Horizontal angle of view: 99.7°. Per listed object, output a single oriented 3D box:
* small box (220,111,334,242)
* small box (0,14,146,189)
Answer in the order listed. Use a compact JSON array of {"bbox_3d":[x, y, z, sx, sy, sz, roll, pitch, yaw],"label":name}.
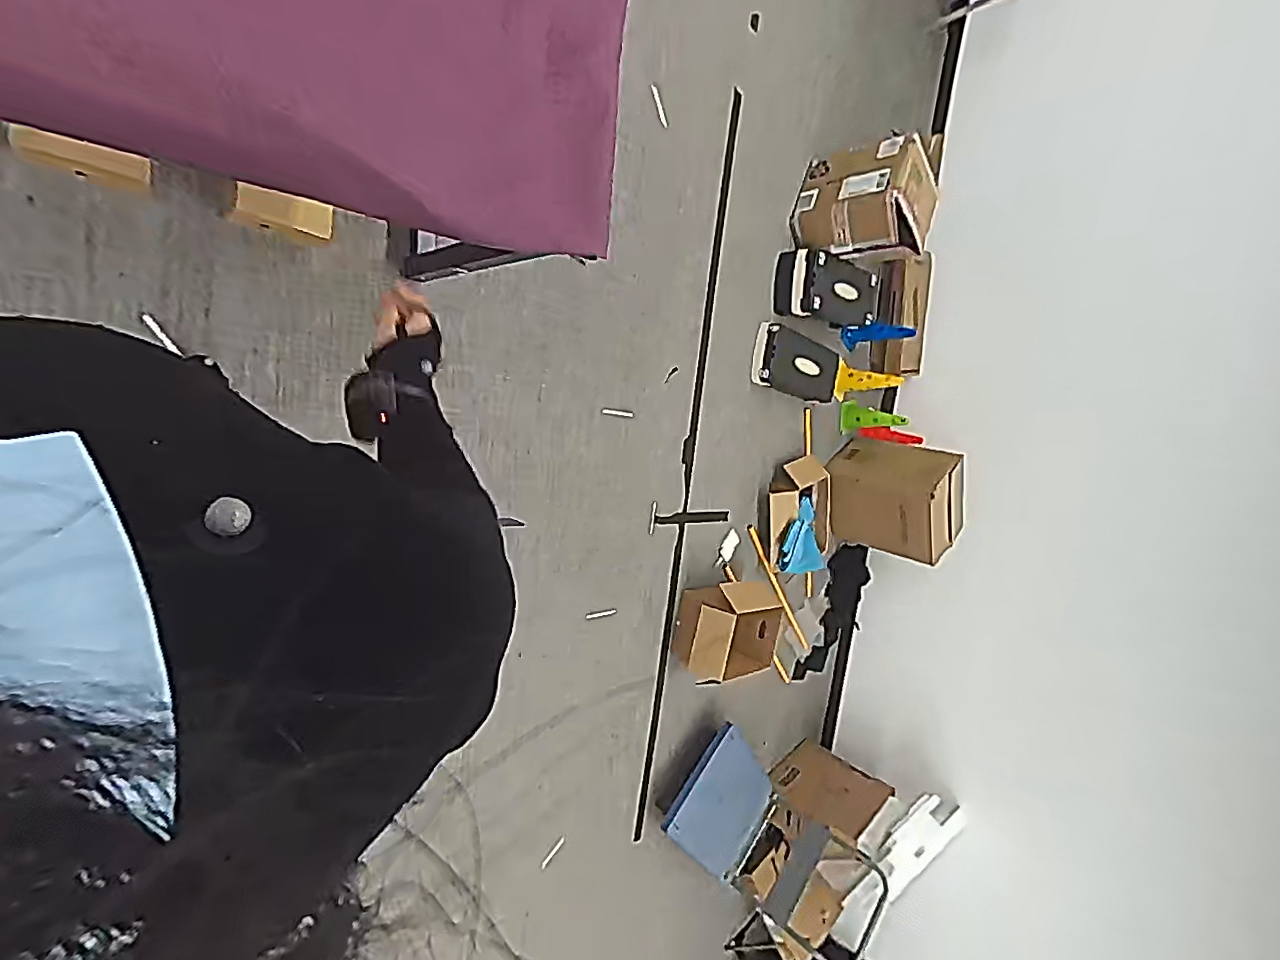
[{"bbox_3d":[-0.771,-0.625,1.144,0.168,0.176,0.179,4,96,-45],"label":"small box"},{"bbox_3d":[-0.973,-0.633,0.937,0.168,0.176,0.179,1,99,-46],"label":"small box"}]
